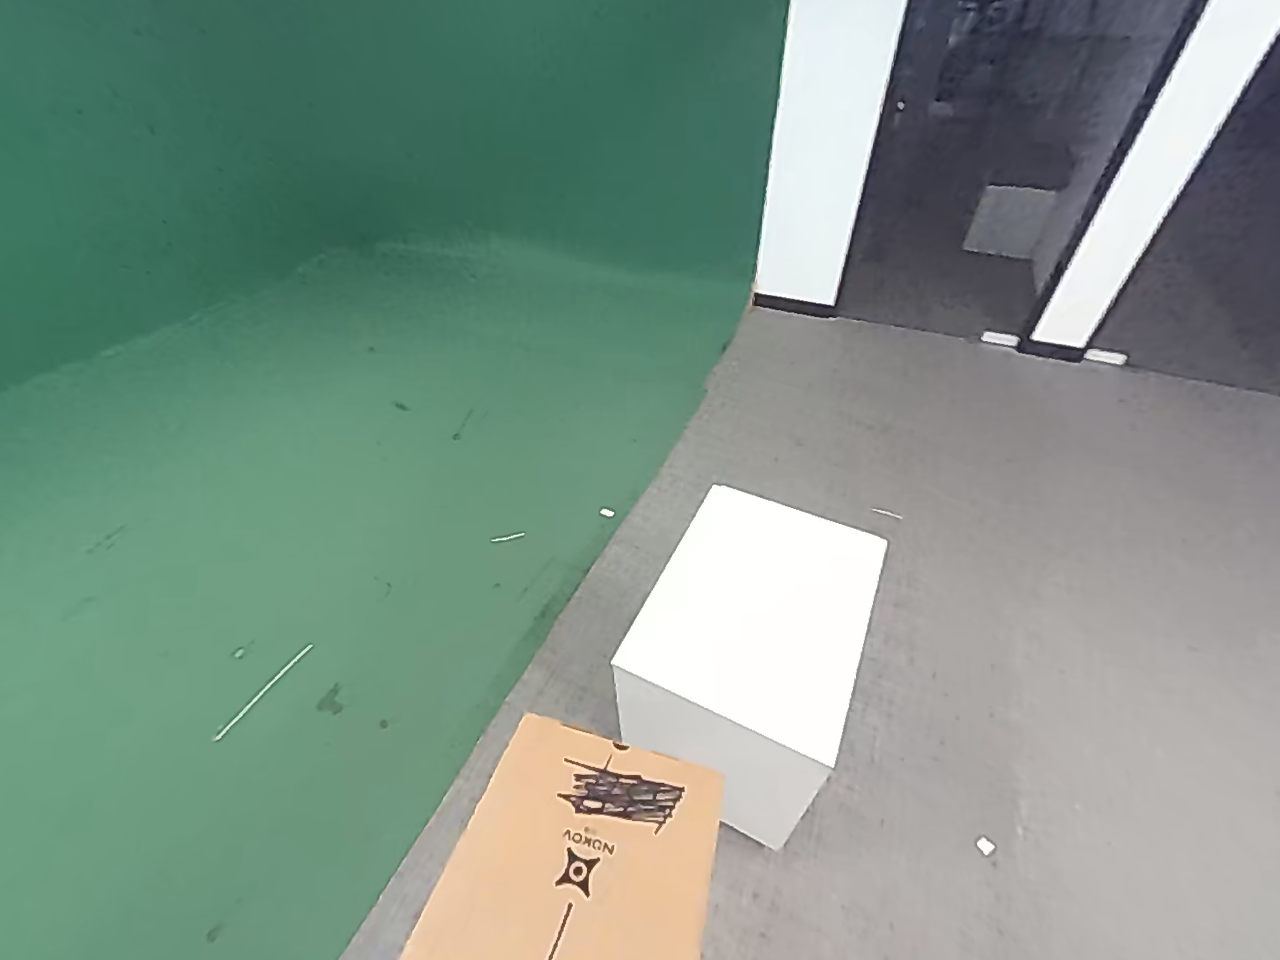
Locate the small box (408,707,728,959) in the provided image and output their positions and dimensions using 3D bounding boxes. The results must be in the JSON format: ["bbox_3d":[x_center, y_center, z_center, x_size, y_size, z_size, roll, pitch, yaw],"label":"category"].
[{"bbox_3d":[-0.041,0.314,0.400,0.168,0.176,0.179,13,32,11],"label":"small box"}]
